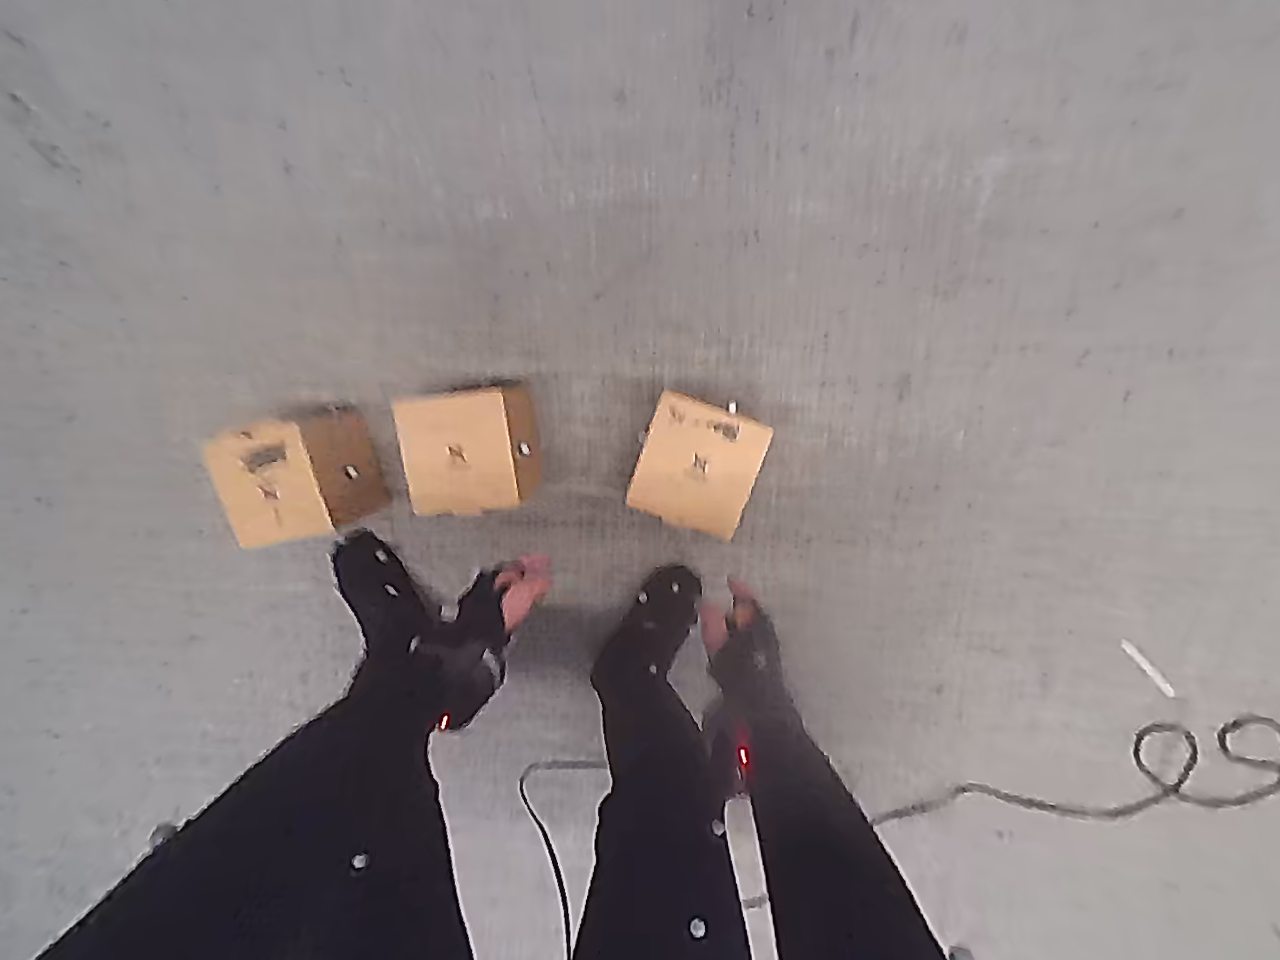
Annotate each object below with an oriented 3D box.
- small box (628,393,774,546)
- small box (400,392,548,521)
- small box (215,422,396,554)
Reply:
[{"bbox_3d":[0.093,-0.026,0.845,0.168,0.176,0.179,20,103,1],"label":"small box"},{"bbox_3d":[-0.255,-0.044,0.875,0.168,0.176,0.179,-6,100,5],"label":"small box"},{"bbox_3d":[-0.547,0.004,0.908,0.168,0.176,0.179,-11,101,8],"label":"small box"}]
